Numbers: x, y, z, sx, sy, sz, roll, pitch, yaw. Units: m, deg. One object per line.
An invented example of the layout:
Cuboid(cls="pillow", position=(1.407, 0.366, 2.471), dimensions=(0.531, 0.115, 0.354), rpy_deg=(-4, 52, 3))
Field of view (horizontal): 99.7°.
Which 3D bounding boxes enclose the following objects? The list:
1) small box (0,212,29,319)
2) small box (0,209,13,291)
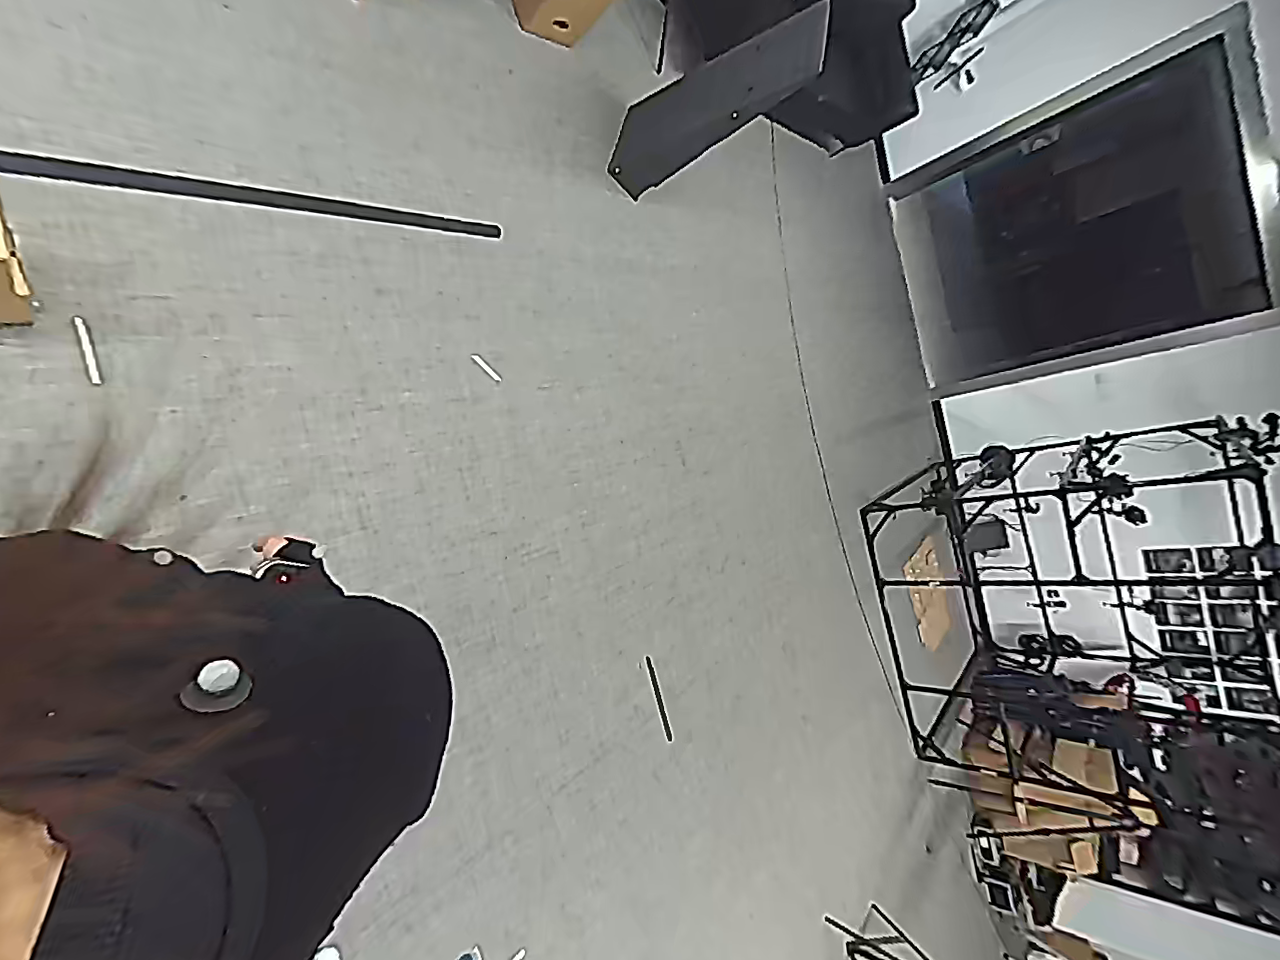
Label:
Cuboid(cls="small box", position=(-1.329, -0.416, 1.044), dimensions=(0.179, 0.176, 0.168), rpy_deg=(-18, 96, -45))
Cuboid(cls="small box", position=(-1.218, -0.448, 0.927), dimensions=(0.168, 0.176, 0.179), rpy_deg=(-11, 91, -47))
